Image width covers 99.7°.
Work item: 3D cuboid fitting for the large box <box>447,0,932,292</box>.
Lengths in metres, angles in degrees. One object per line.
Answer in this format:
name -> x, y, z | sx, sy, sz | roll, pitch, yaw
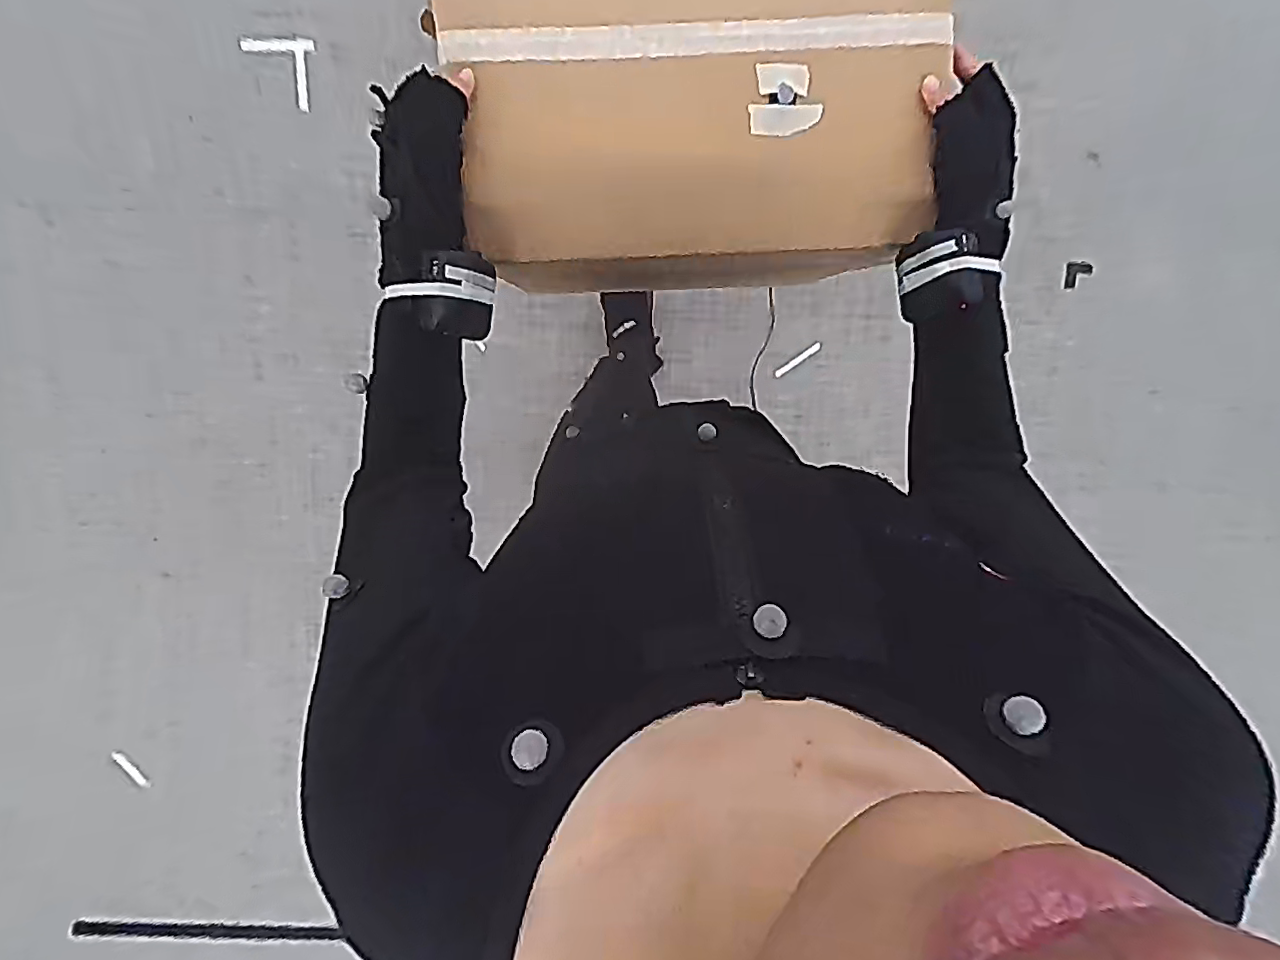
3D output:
large box -> 0.036, -0.395, 0.592 | 0.408, 0.320, 0.320 | -4, 105, -2
